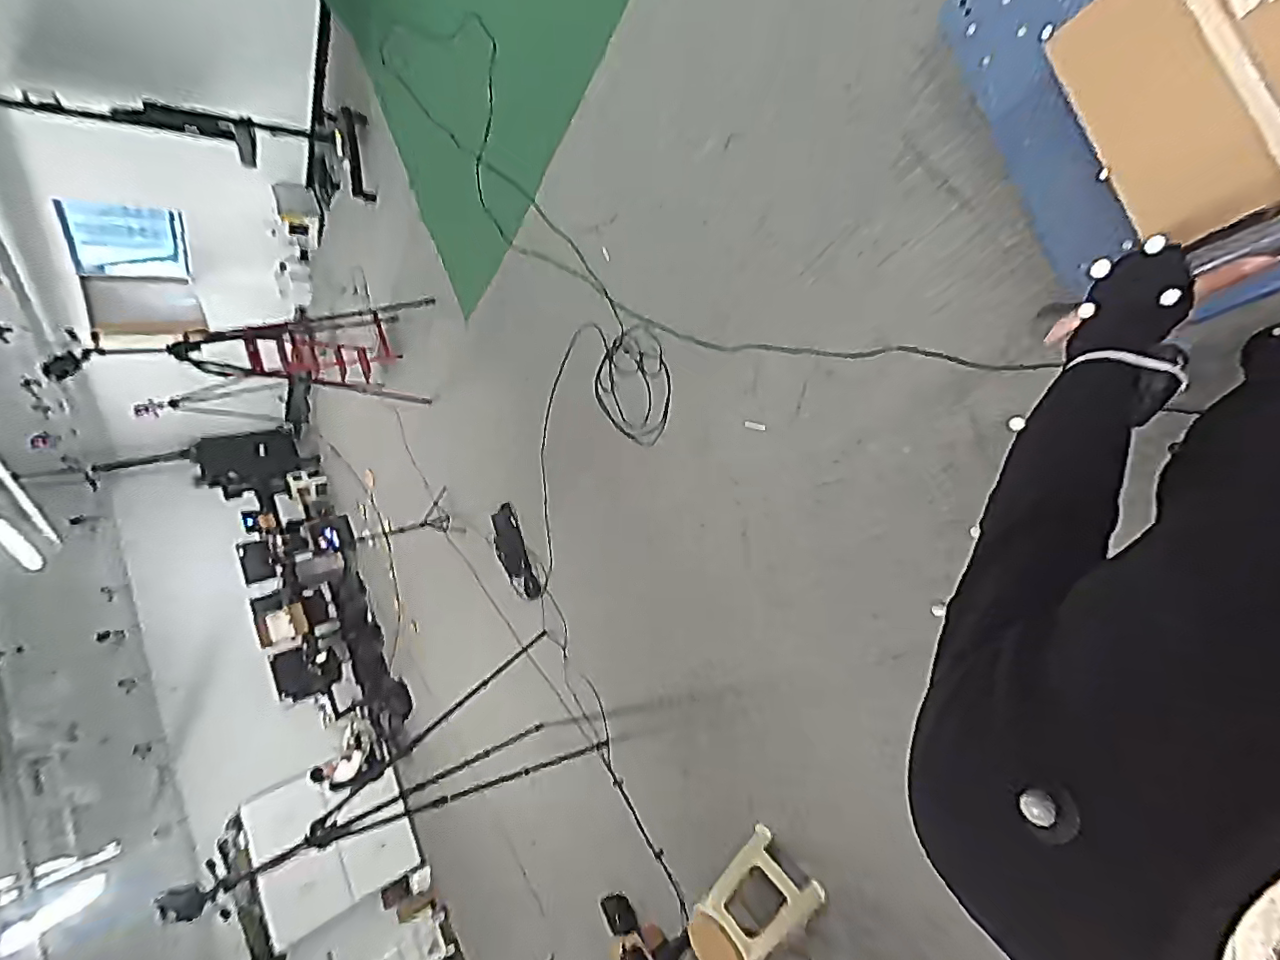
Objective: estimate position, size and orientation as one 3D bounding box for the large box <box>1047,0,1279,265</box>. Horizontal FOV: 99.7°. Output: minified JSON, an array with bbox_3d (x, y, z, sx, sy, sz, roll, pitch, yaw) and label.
[{"bbox_3d":[0.935,-0.607,0.843,0.320,0.320,0.408,-27,79,49],"label":"large box"}]
